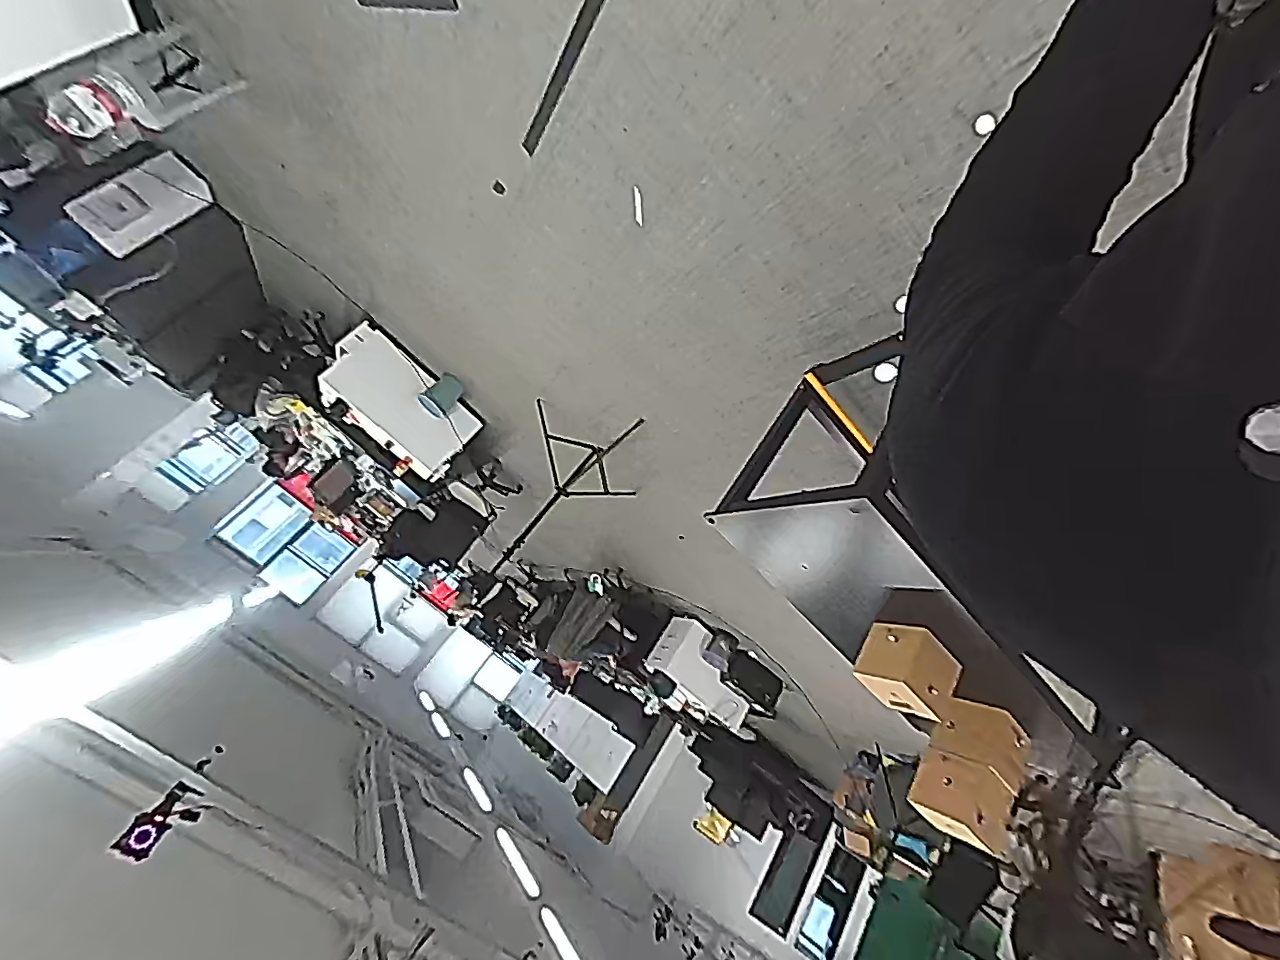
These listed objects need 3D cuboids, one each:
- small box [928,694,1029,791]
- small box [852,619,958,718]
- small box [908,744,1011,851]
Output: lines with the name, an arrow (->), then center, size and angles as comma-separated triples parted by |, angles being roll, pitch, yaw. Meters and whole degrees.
small box -> 0.978, 0.745, 1.559 | 0.168, 0.176, 0.179 | 44, 155, -19
small box -> 0.722, 0.504, 1.466 | 0.179, 0.176, 0.168 | 44, 155, -15
small box -> 0.888, 0.871, 1.500 | 0.179, 0.176, 0.168 | 45, 156, -19
